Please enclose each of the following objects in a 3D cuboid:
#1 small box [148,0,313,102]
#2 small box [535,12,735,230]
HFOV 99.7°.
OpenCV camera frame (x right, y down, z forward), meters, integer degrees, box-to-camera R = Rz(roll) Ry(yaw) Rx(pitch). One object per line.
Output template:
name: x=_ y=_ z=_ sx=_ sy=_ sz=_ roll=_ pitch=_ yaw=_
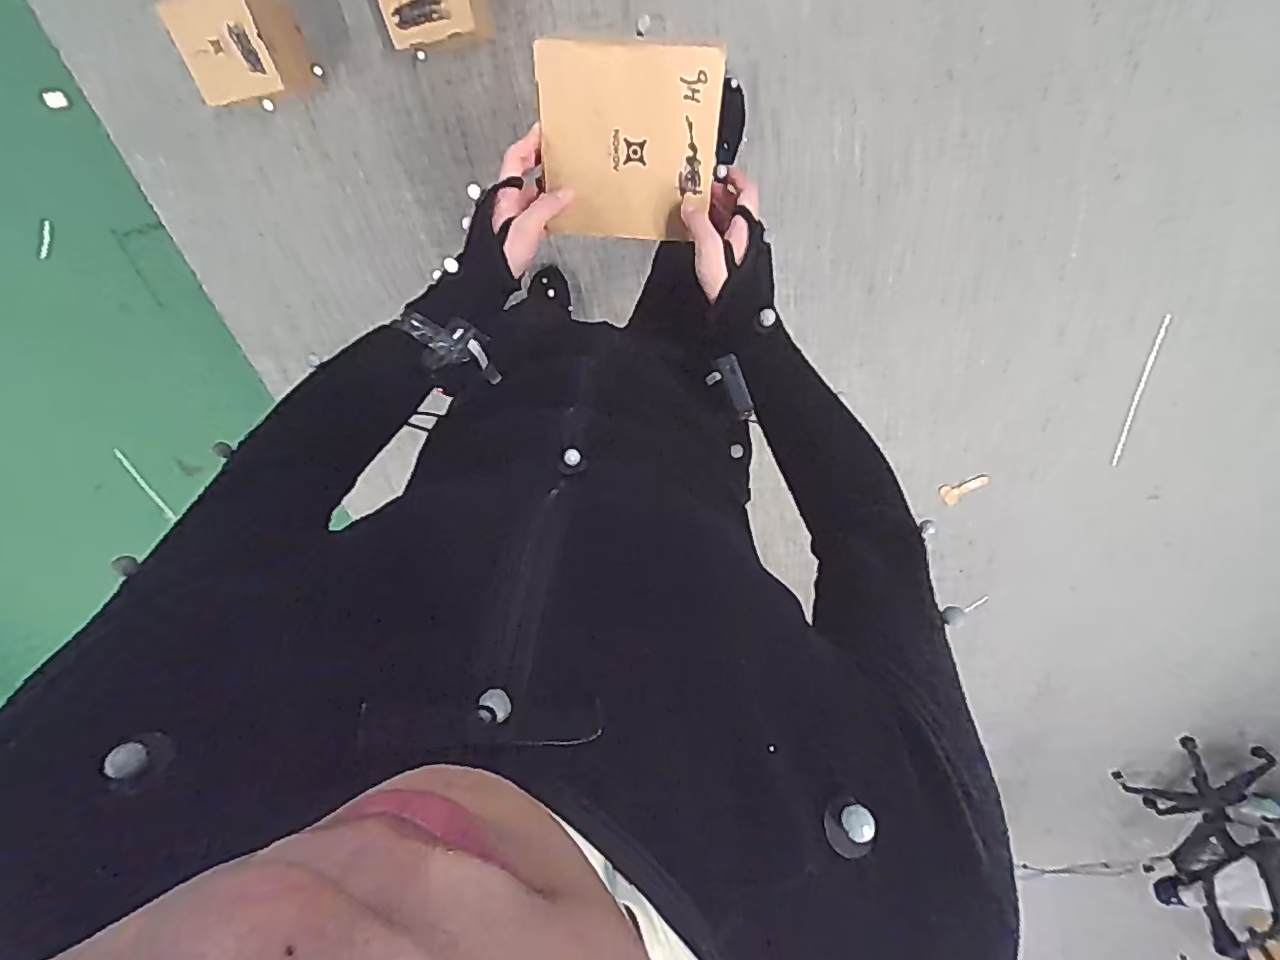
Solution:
small box: x=-0.789 y=-0.867 z=1.071 sx=0.179 sy=0.176 sz=0.168 roll=-6 pitch=125 yaw=8
small box: x=0.001 y=-0.380 z=0.570 sx=0.179 sy=0.176 sz=0.168 roll=6 pitch=131 yaw=4
